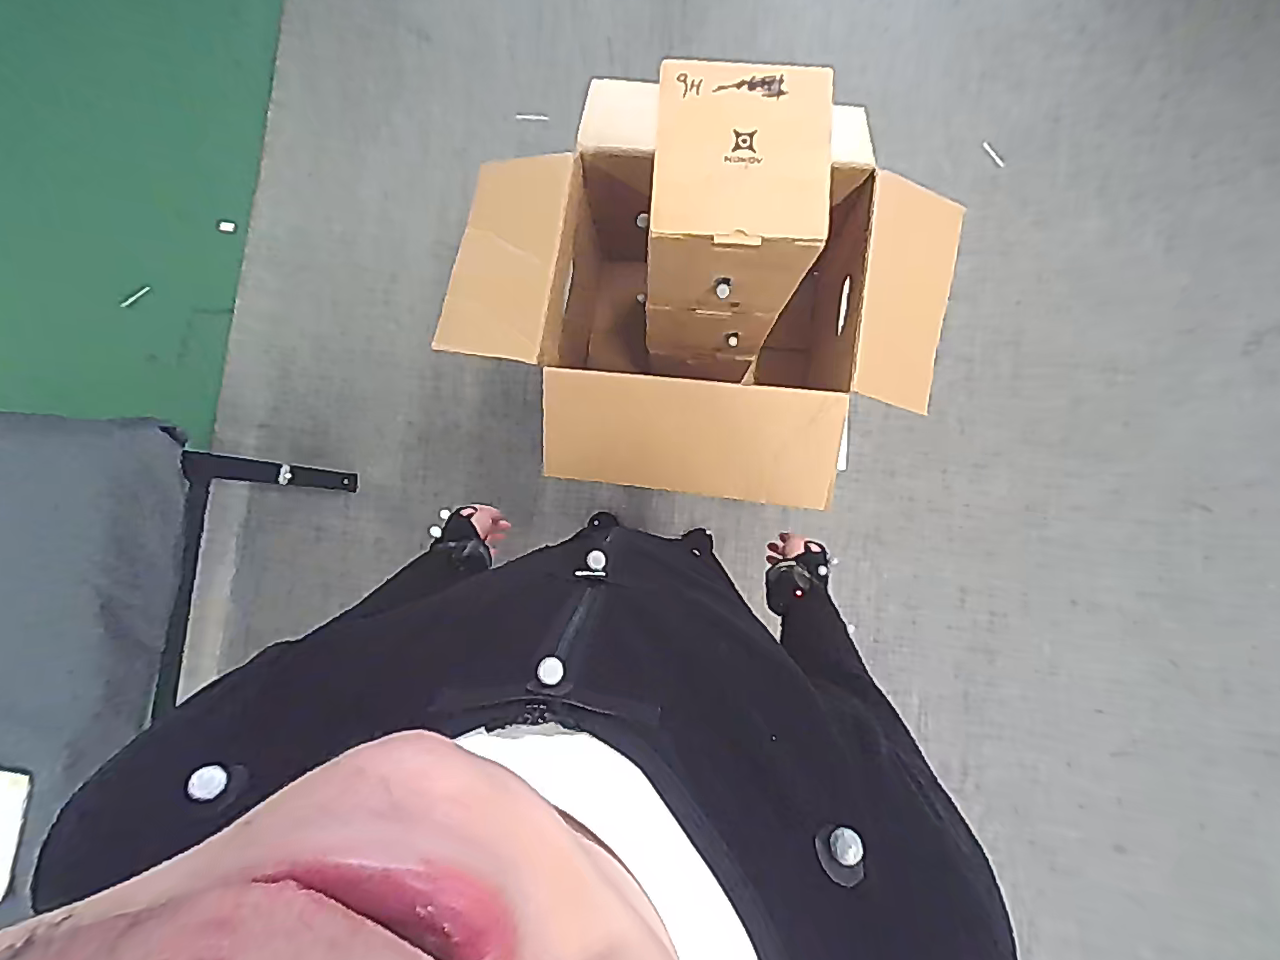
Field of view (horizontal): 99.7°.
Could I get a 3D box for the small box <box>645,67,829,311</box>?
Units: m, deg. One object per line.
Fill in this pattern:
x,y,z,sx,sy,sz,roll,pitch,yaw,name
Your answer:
0.093,-0.299,0.591,0.168,0.176,0.179,4,86,0,small box
